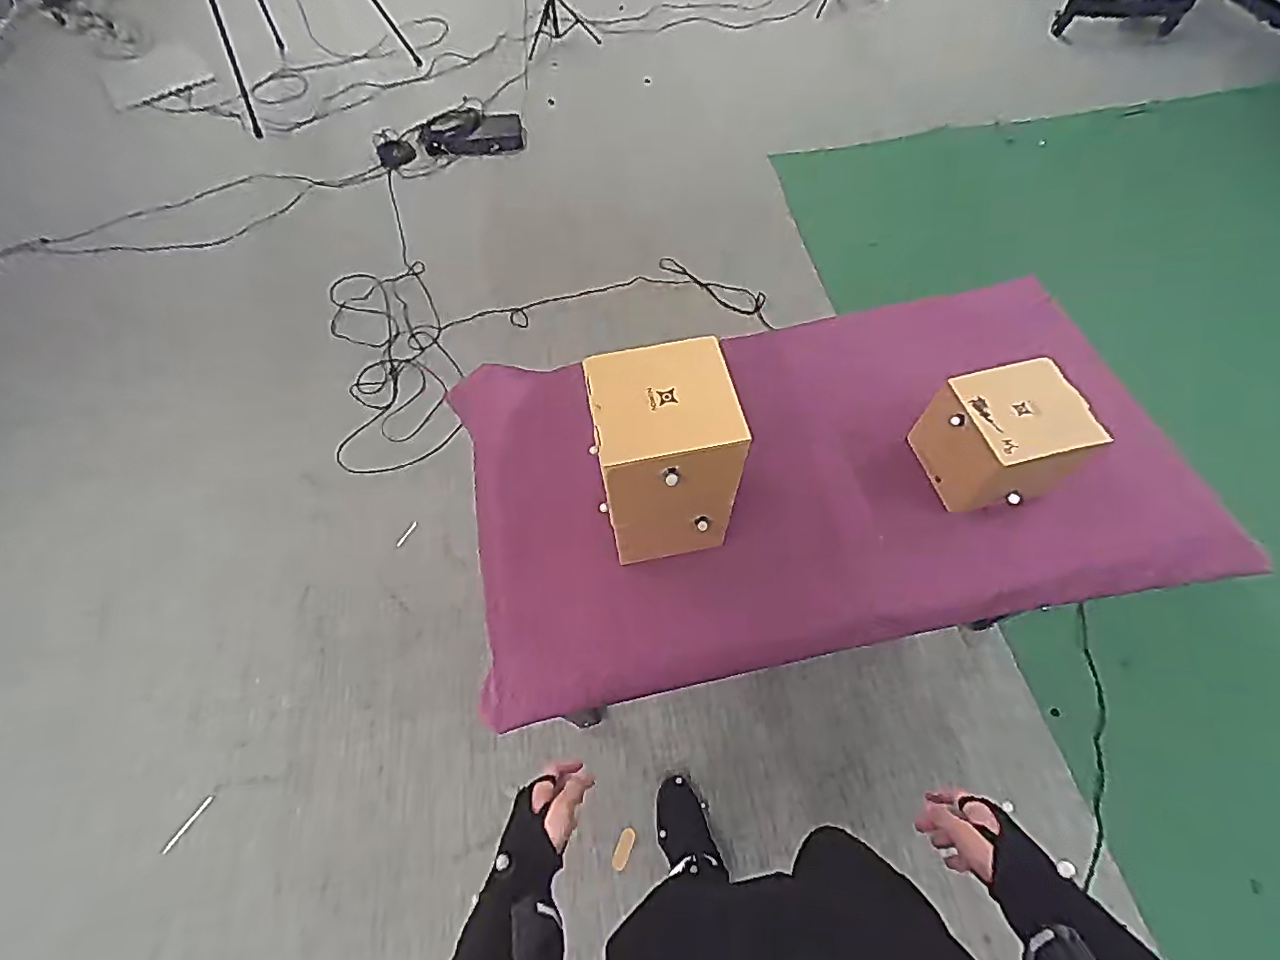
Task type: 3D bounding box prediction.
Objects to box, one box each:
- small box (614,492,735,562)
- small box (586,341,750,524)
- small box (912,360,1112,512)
[{"bbox_3d":[0.040,0.018,0.870,0.179,0.176,0.168,-11,61,-3],"label":"small box"},{"bbox_3d":[0.032,-0.057,0.726,0.179,0.176,0.168,-11,62,-2],"label":"small box"},{"bbox_3d":[0.587,-0.066,0.883,0.179,0.176,0.168,-12,61,-3],"label":"small box"}]
